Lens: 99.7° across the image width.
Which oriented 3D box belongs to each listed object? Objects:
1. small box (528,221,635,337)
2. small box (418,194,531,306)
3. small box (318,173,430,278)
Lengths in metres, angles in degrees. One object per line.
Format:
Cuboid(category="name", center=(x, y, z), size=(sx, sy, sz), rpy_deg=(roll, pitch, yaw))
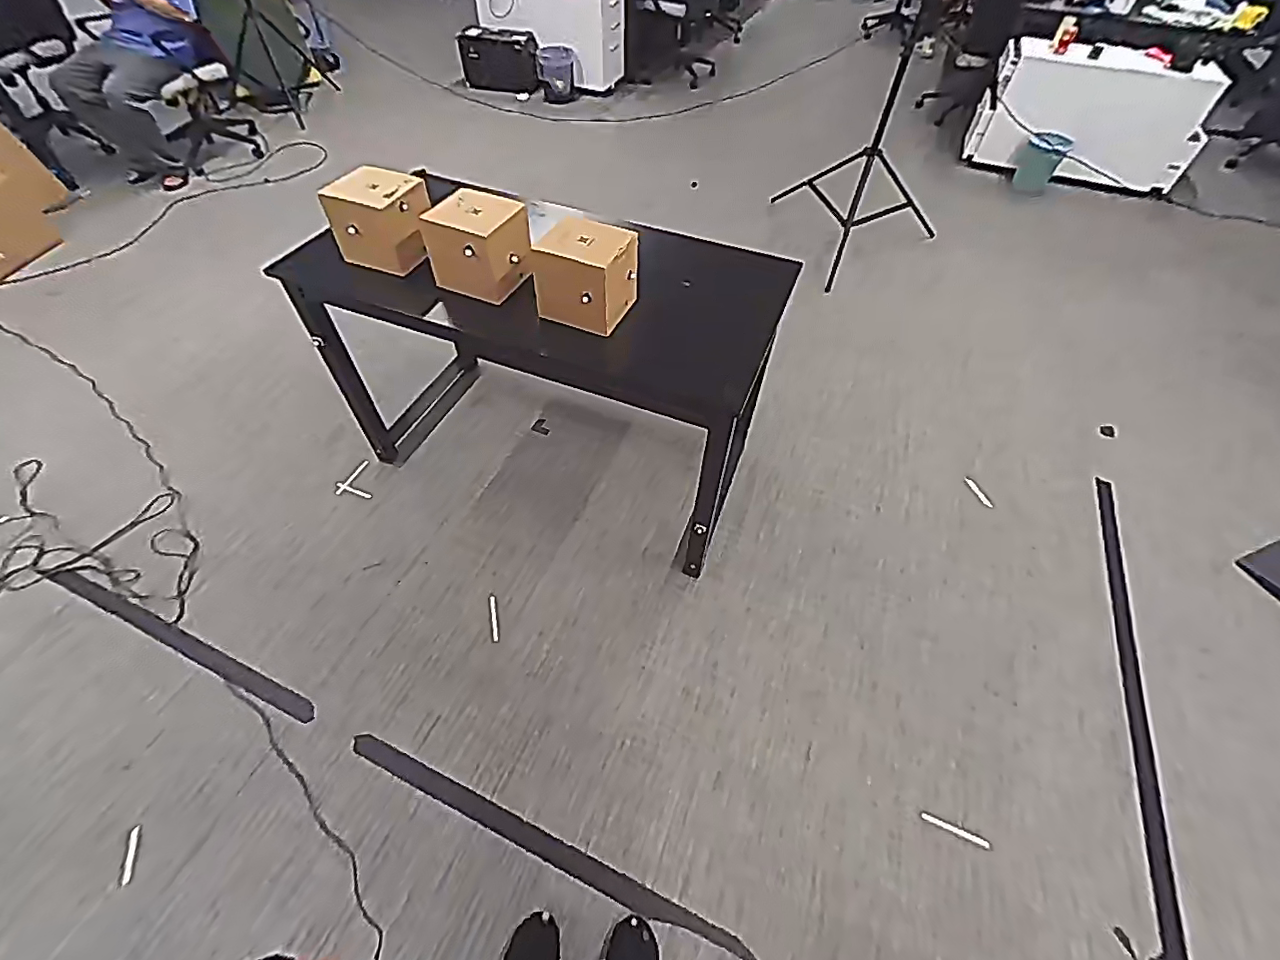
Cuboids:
Cuboid(category="small box", center=(-0.122, -0.441, 1.200), size=(0.179, 0.176, 0.168), rpy_deg=(19, 52, 14))
Cuboid(category="small box", center=(-0.373, -0.532, 1.259), size=(0.179, 0.176, 0.168), rpy_deg=(20, 53, 13))
Cuboid(category="small box", center=(-0.626, -0.617, 1.318), size=(0.179, 0.176, 0.168), rpy_deg=(17, 53, 11))
